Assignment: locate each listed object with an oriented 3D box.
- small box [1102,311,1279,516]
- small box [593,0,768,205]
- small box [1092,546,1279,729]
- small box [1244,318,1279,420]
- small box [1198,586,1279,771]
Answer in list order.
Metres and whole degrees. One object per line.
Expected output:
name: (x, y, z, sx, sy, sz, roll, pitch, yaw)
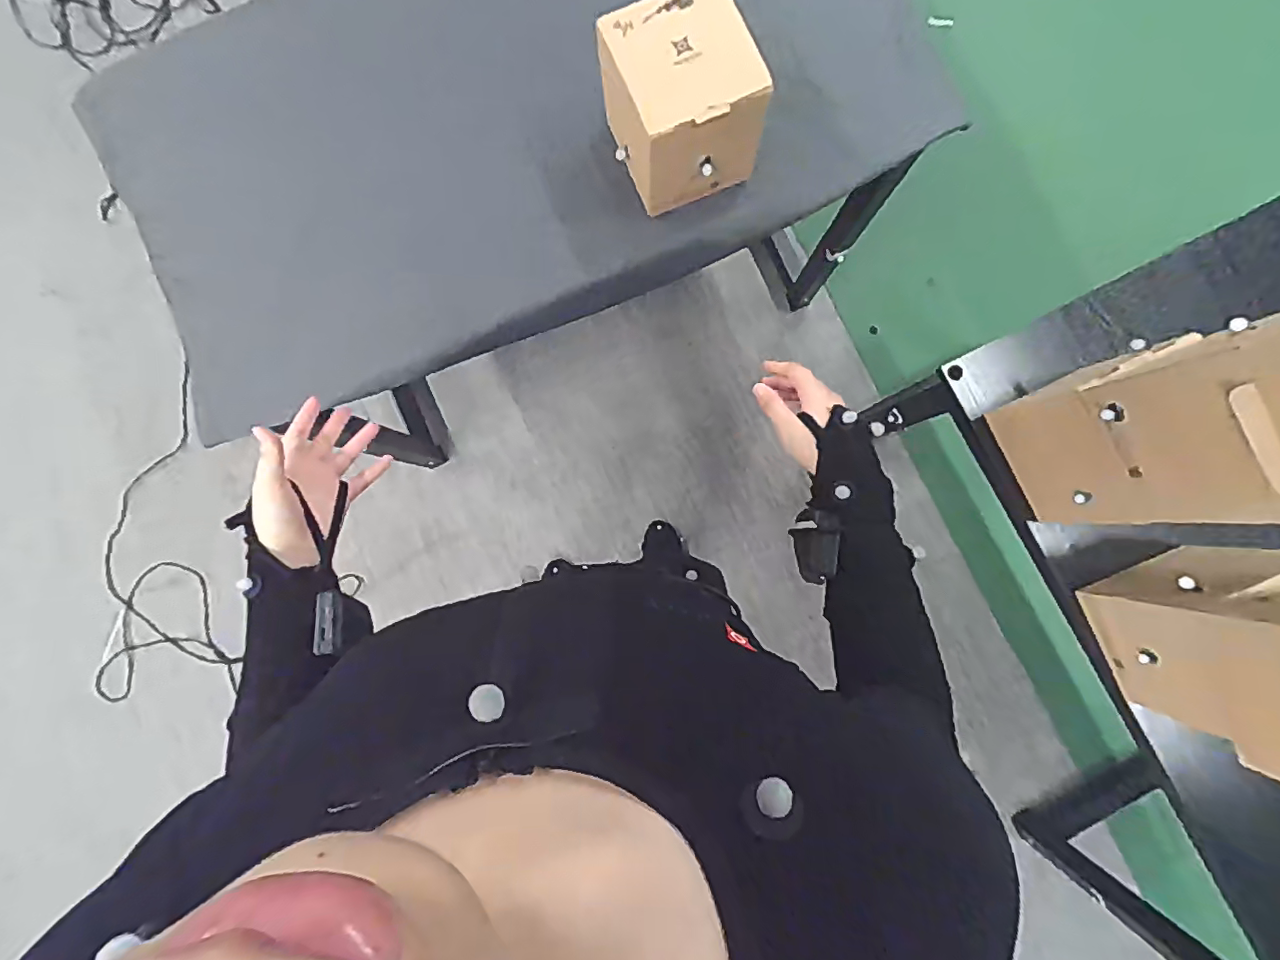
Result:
small box: (0.612, -0.067, 0.530, 0.179, 0.176, 0.168, -23, 87, -2)
small box: (0.052, -0.508, 0.731, 0.168, 0.176, 0.179, -23, 85, 0)
small box: (0.723, 0.190, 0.675, 0.179, 0.176, 0.168, -23, 87, -1)
small box: (0.602, -0.074, 0.367, 0.168, 0.176, 0.179, -23, 86, -3)
small box: (0.708, 0.201, 0.512, 0.168, 0.176, 0.179, -15, 86, 0)
